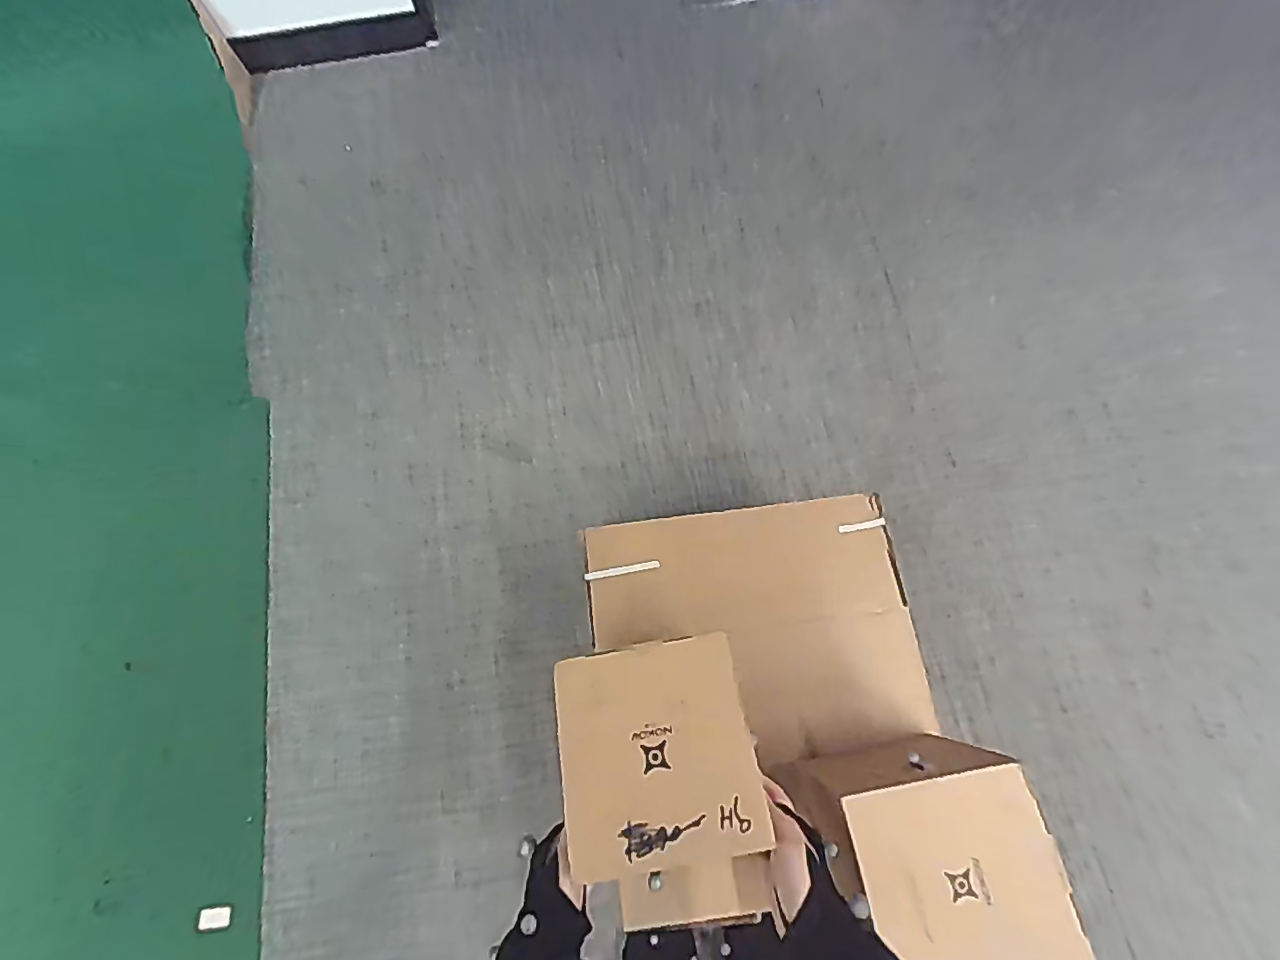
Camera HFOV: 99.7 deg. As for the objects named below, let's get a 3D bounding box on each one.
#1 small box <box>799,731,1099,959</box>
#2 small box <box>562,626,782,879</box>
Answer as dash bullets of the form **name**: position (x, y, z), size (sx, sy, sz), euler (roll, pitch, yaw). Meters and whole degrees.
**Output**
- **small box**: position (0.281, 0.361, 0.539), size (0.179, 0.176, 0.168), euler (-10, 72, -2)
- **small box**: position (0.026, 0.265, 0.532), size (0.168, 0.176, 0.179), euler (-12, 59, 0)
